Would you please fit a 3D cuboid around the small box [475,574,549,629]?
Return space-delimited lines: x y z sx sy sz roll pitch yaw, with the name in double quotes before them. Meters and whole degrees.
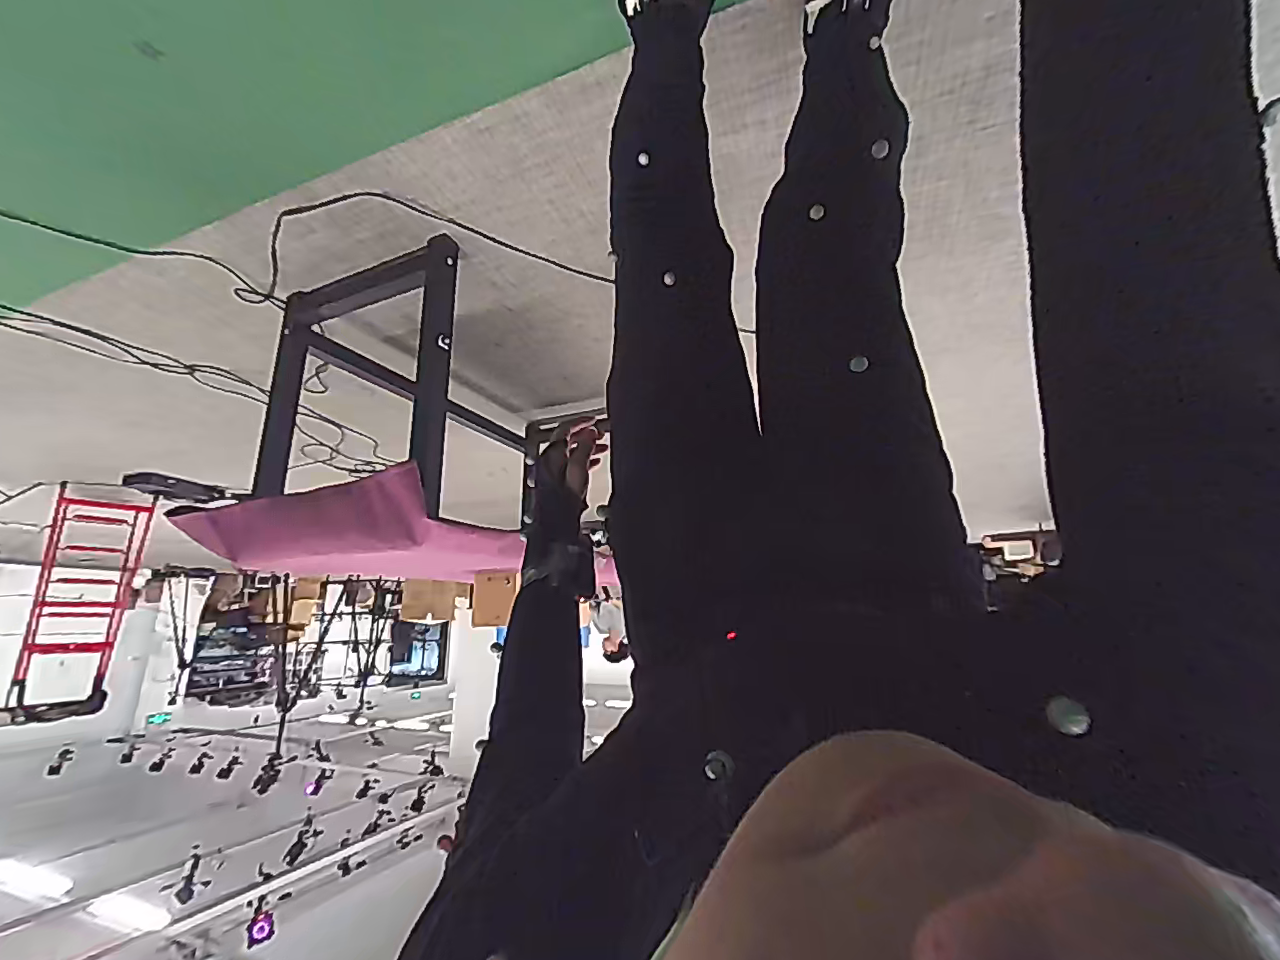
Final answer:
"small box" -0.407 0.390 1.739 0.168 0.176 0.179 -7 165 24

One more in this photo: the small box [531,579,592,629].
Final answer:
"small box" -0.291 0.459 1.997 0.179 0.176 0.168 -8 163 24
